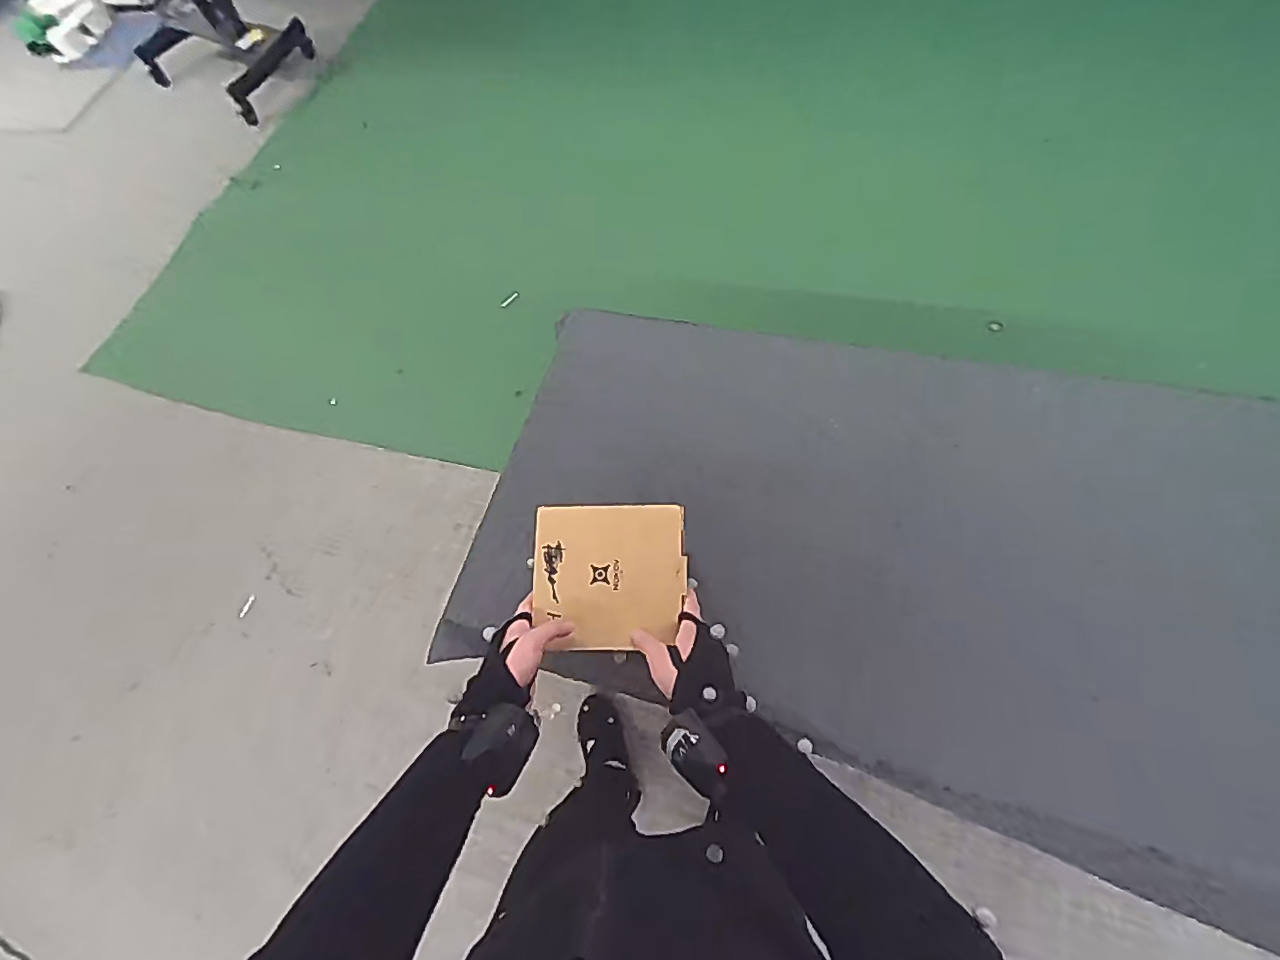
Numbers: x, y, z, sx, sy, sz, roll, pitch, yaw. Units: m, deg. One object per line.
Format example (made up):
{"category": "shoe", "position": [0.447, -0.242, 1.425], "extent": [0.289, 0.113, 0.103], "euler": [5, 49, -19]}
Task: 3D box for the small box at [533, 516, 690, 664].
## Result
{"category": "small box", "position": [-0.027, 0.145, 0.696], "extent": [0.179, 0.176, 0.168], "euler": [0, 73, 4]}
